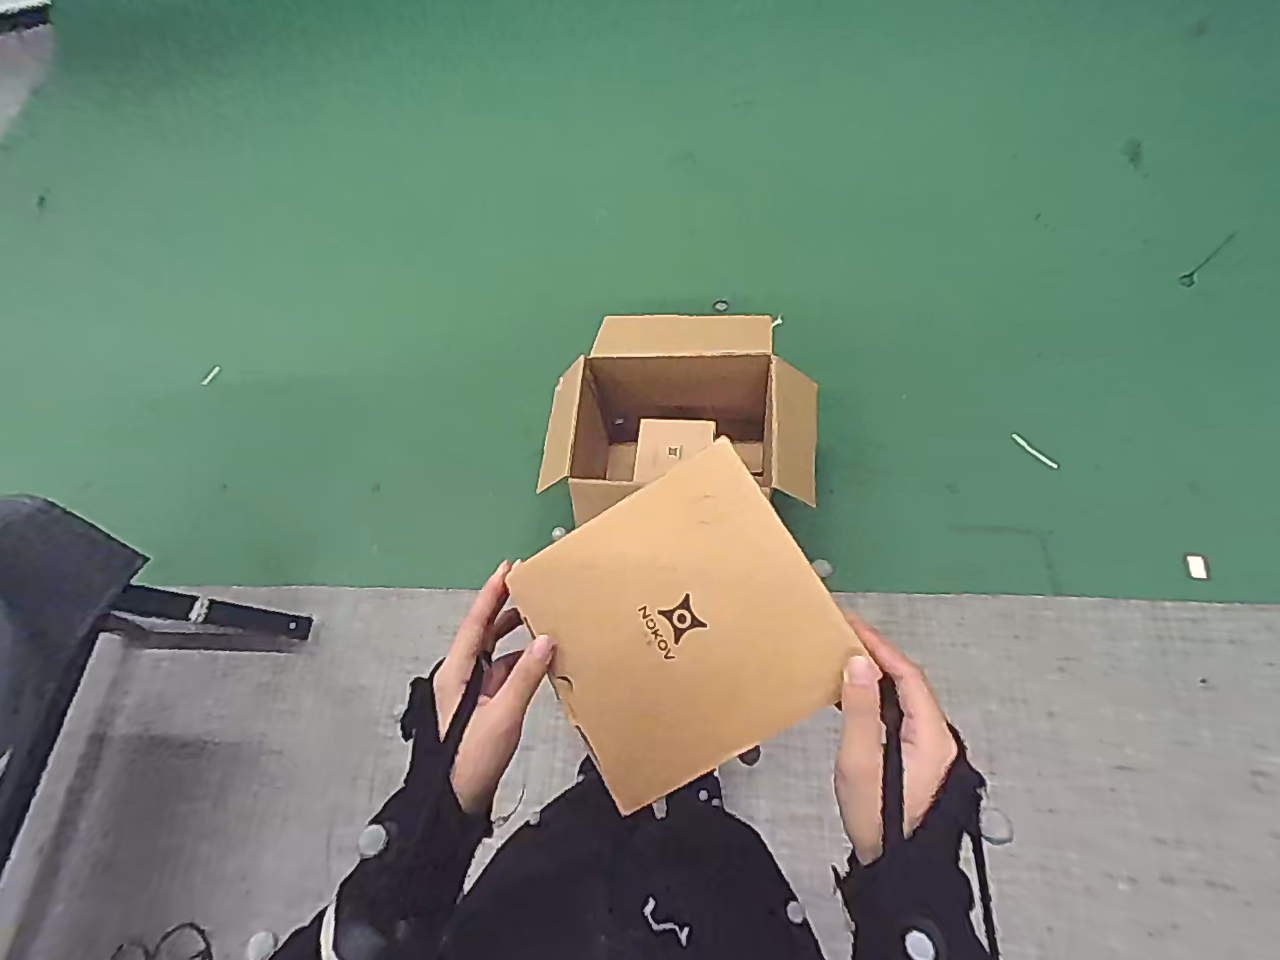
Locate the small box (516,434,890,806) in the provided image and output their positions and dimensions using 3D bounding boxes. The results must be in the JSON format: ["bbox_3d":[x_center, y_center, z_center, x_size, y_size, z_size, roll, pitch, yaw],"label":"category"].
[{"bbox_3d":[0.046,0.091,0.403,0.179,0.176,0.168,-32,77,8],"label":"small box"}]
